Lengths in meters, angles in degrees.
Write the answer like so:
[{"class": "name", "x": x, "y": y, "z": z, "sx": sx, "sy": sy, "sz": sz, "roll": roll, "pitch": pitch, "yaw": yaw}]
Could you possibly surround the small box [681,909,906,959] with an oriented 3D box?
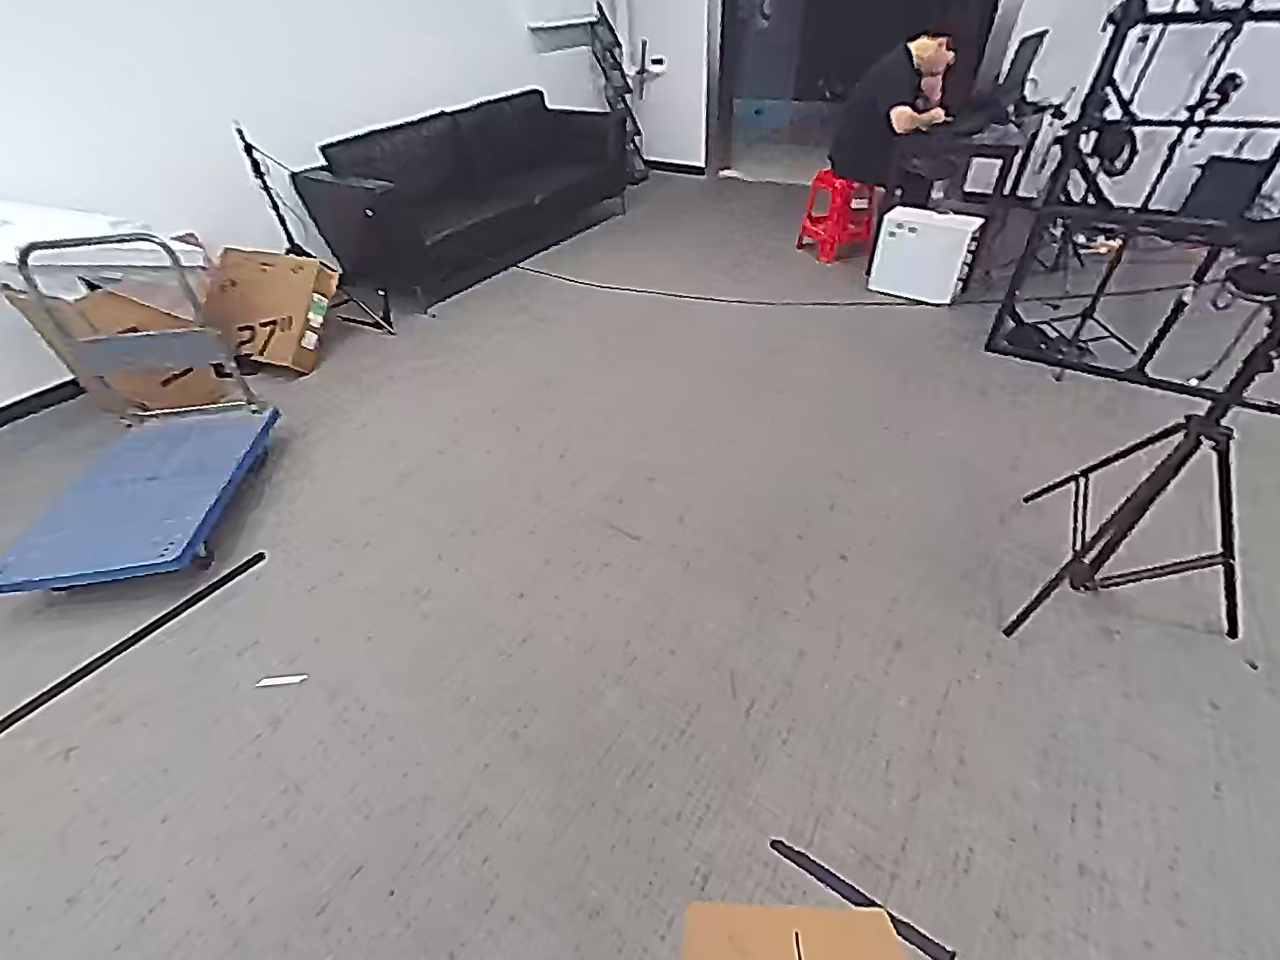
[{"class": "small box", "x": 0.114, "y": 0.446, "z": 0.371, "sx": 0.168, "sy": 0.176, "sz": 0.179, "roll": 2, "pitch": 14, "yaw": 0}]
